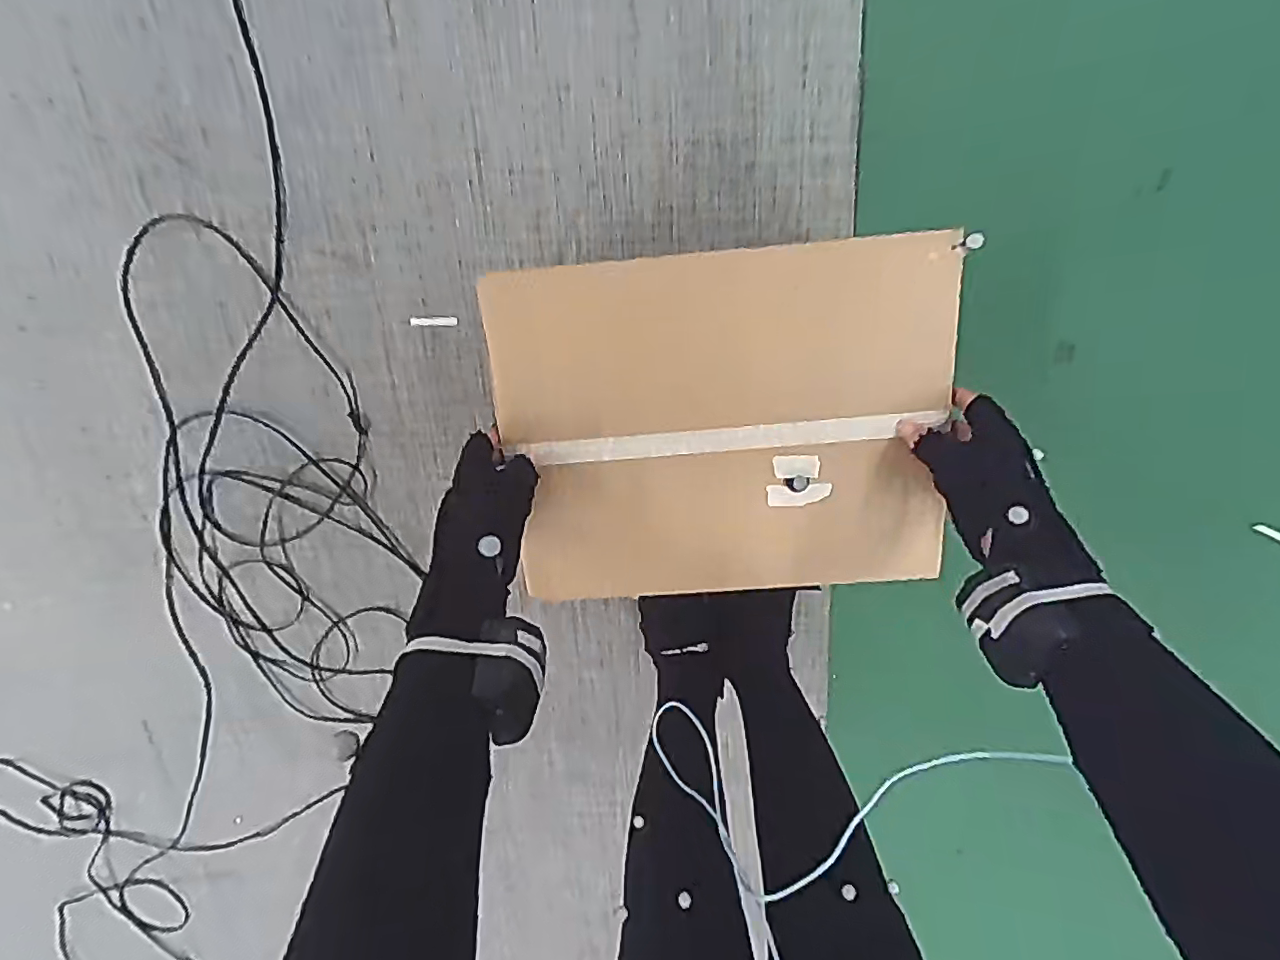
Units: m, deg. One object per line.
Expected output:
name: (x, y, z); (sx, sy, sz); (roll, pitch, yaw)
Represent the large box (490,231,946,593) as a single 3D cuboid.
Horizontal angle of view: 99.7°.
large box: (0.080, -0.087, 0.651); (0.408, 0.320, 0.320); (-5, 107, 3)
